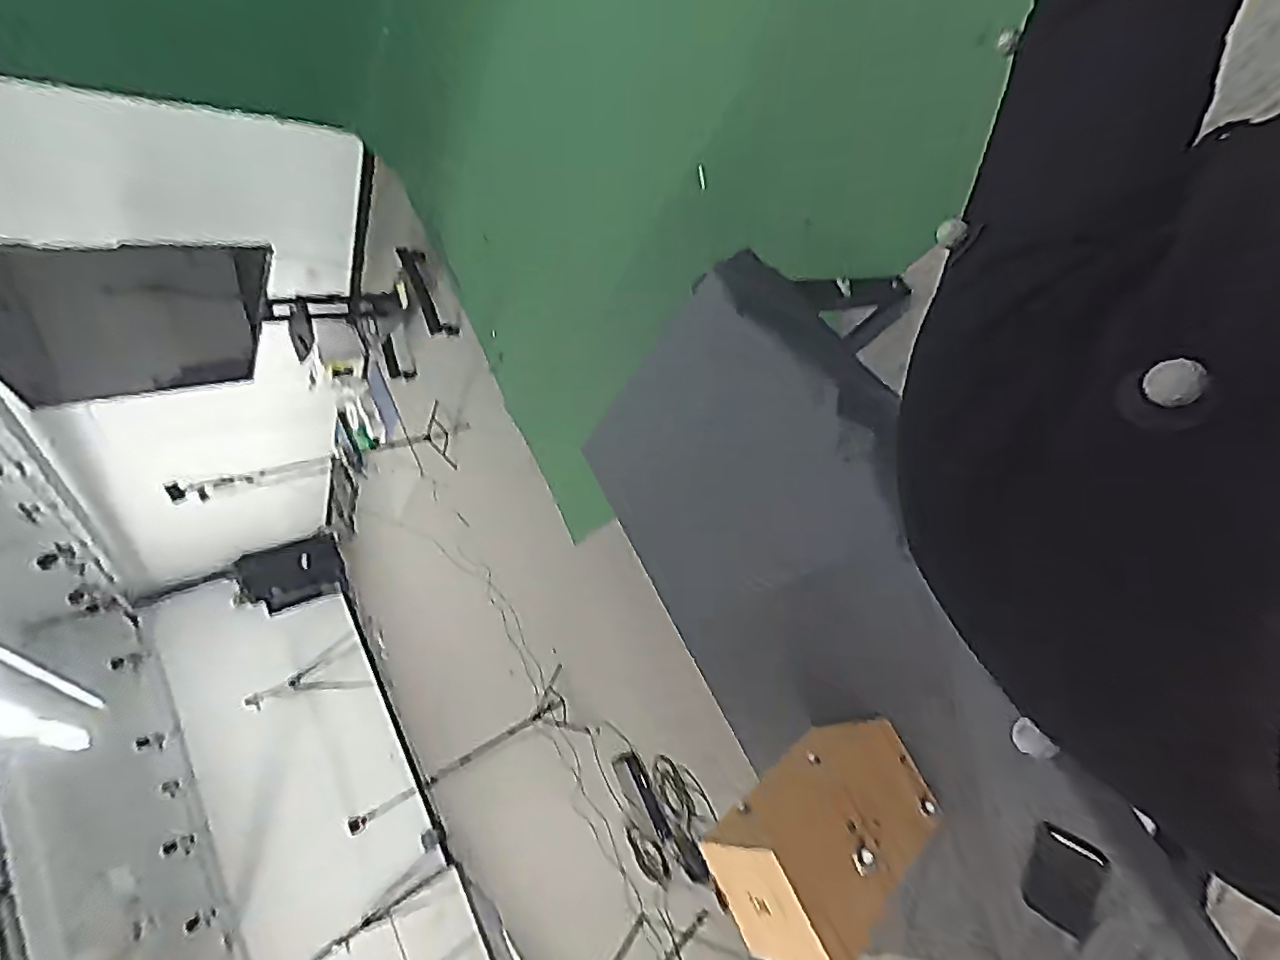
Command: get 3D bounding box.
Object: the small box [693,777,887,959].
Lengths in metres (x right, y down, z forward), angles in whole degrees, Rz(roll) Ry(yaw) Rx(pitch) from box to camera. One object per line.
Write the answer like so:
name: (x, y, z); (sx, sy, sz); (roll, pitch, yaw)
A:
small box: (0.216, 0.561, 0.787); (0.179, 0.176, 0.168); (-43, 71, 47)

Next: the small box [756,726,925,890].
small box: (0.335, 0.526, 0.891); (0.179, 0.176, 0.168); (-43, 70, 50)
